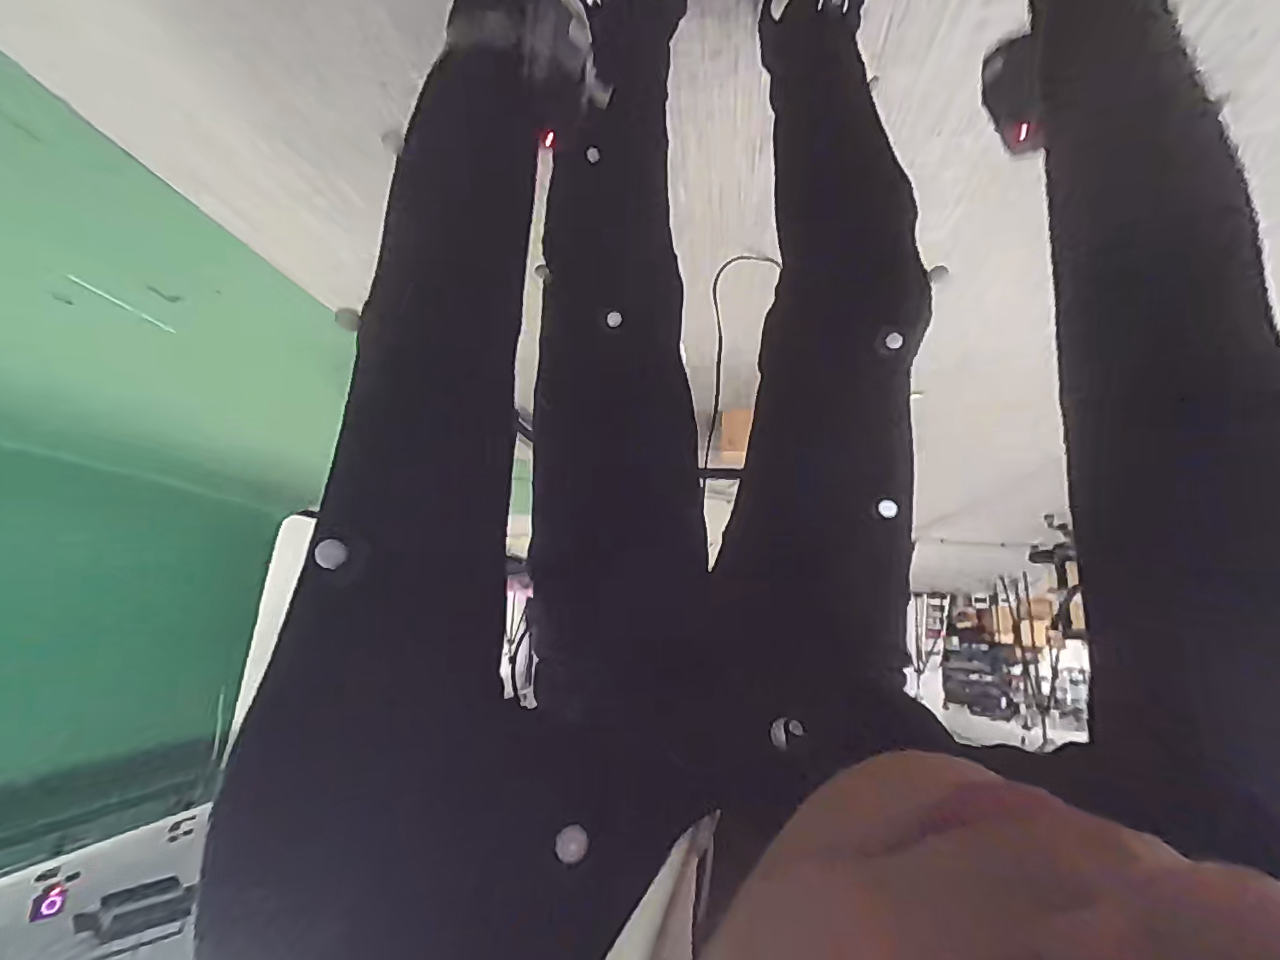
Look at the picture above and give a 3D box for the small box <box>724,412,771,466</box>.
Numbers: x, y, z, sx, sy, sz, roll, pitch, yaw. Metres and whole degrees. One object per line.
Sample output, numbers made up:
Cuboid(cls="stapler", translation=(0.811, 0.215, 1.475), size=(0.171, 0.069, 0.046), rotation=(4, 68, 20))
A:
Cuboid(cls="small box", translation=(0.418, -0.159, 2.102), size=(0.179, 0.176, 0.168), rotation=(2, 166, 11))
